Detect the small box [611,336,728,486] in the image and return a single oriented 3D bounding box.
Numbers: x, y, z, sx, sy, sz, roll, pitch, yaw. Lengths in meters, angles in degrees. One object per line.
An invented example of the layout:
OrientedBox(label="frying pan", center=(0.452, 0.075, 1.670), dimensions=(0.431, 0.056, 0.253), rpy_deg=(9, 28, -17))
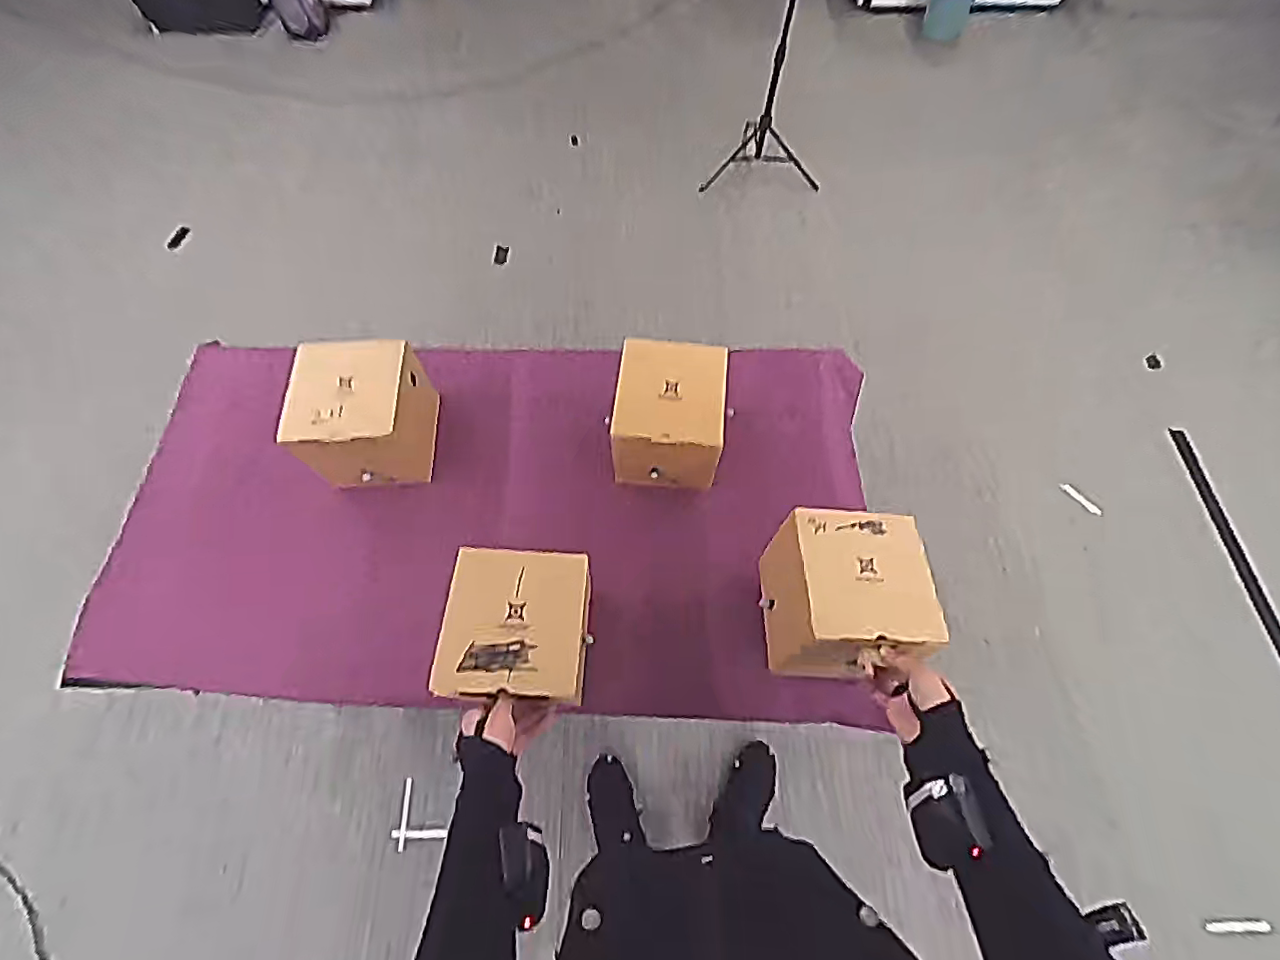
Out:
OrientedBox(label="small box", center=(0.047, -0.109, 0.890), dimensions=(0.168, 0.176, 0.179), rpy_deg=(5, 67, 3))

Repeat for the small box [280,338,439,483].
OrientedBox(label="small box", center=(-0.442, -0.109, 0.886), dimensions=(0.168, 0.176, 0.179), rpy_deg=(-3, 66, -2))

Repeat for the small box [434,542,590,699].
OrientedBox(label="small box", center=(-0.156, 0.196, 0.727), dimensions=(0.168, 0.176, 0.179), rpy_deg=(4, 65, -2))

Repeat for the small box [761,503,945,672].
OrientedBox(label="small box", center=(0.271, 0.152, 0.733), dimensions=(0.168, 0.176, 0.179), rpy_deg=(5, 57, -4))
